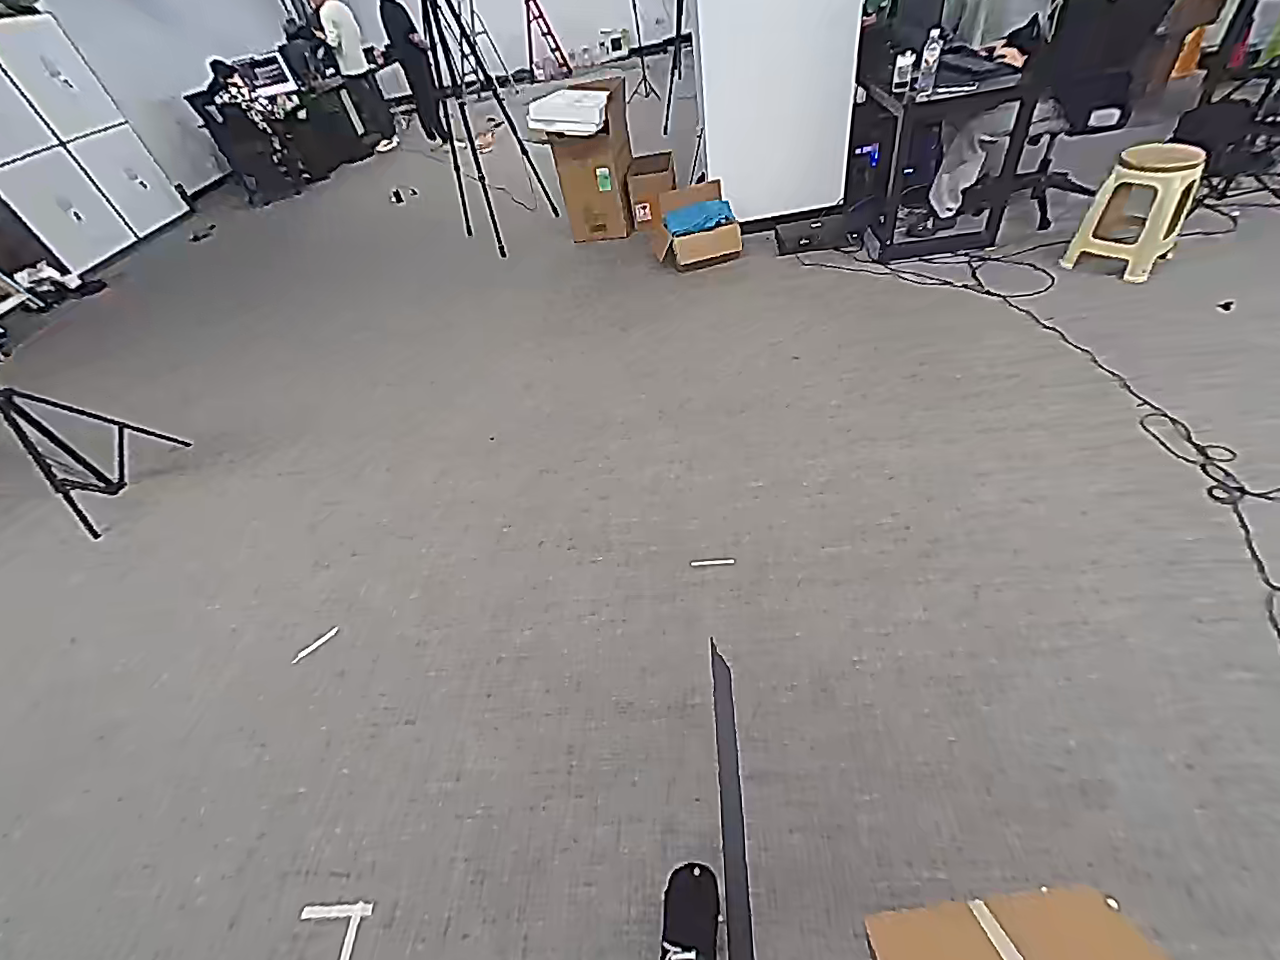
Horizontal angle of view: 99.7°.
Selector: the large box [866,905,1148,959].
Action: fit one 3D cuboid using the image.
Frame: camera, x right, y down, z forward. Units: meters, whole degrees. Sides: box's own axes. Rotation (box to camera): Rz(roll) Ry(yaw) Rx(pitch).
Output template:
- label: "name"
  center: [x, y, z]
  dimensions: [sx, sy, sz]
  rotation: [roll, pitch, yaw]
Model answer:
- label: "large box"
  center: [0.473, 0.740, 0.540]
  dimensions: [0.320, 0.408, 0.320]
  rotation: [-13, 86, 6]
